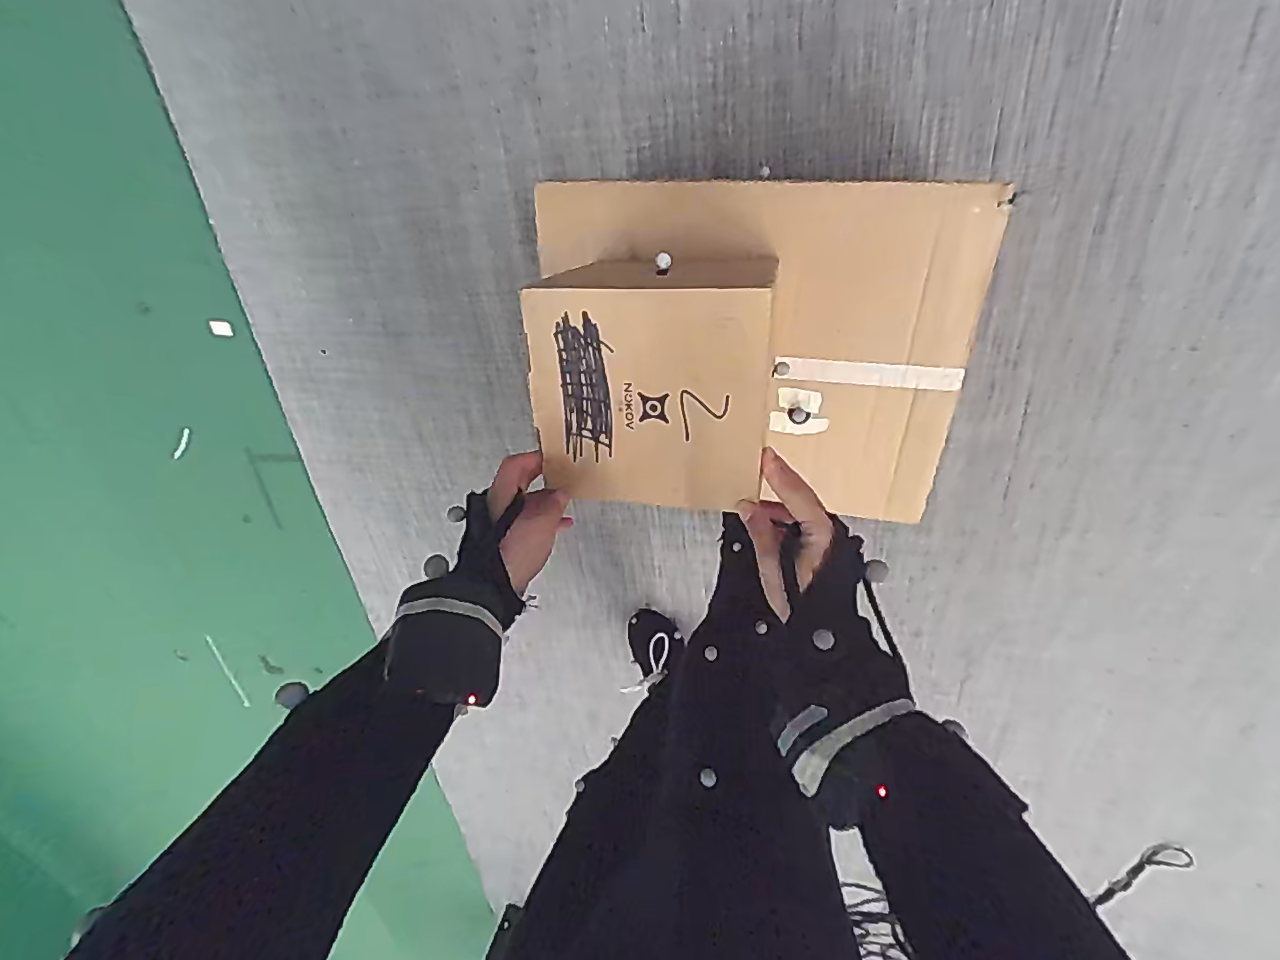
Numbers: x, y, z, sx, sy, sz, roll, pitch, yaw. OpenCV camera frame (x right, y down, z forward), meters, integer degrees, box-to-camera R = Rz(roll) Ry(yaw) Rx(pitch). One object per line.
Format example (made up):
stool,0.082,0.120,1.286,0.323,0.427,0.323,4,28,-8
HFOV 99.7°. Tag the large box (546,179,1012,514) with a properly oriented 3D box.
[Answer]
large box,0.137,-0.184,0.664,0.408,0.320,0.320,6,119,12
